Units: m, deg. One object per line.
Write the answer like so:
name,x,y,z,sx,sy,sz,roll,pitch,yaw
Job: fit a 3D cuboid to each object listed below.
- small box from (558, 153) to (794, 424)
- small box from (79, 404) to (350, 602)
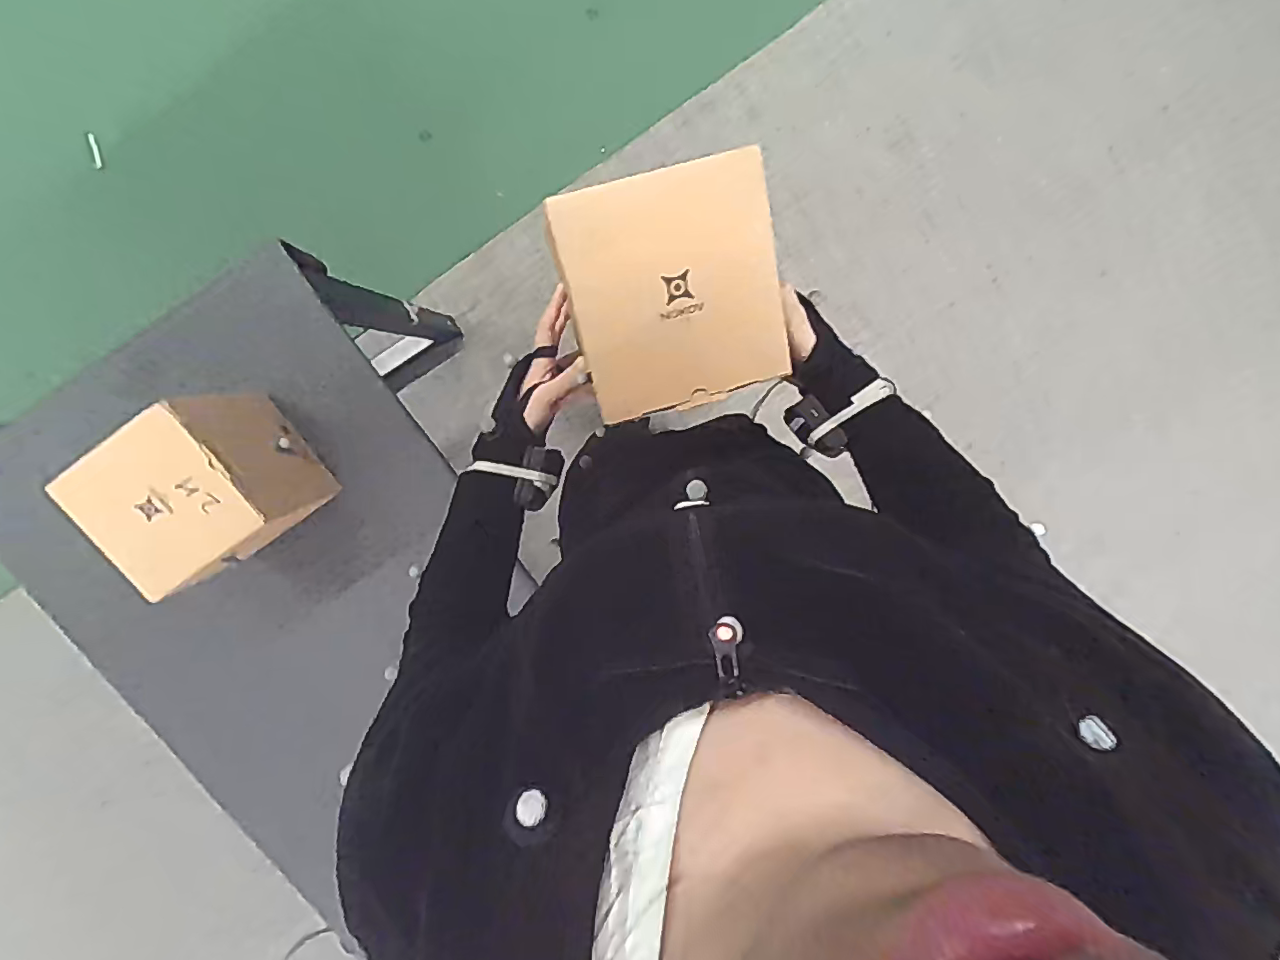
small box,0.023,-0.171,0.504,0.168,0.176,0.179,-16,111,-3
small box,-0.522,0.019,0.693,0.179,0.176,0.168,-34,100,6
